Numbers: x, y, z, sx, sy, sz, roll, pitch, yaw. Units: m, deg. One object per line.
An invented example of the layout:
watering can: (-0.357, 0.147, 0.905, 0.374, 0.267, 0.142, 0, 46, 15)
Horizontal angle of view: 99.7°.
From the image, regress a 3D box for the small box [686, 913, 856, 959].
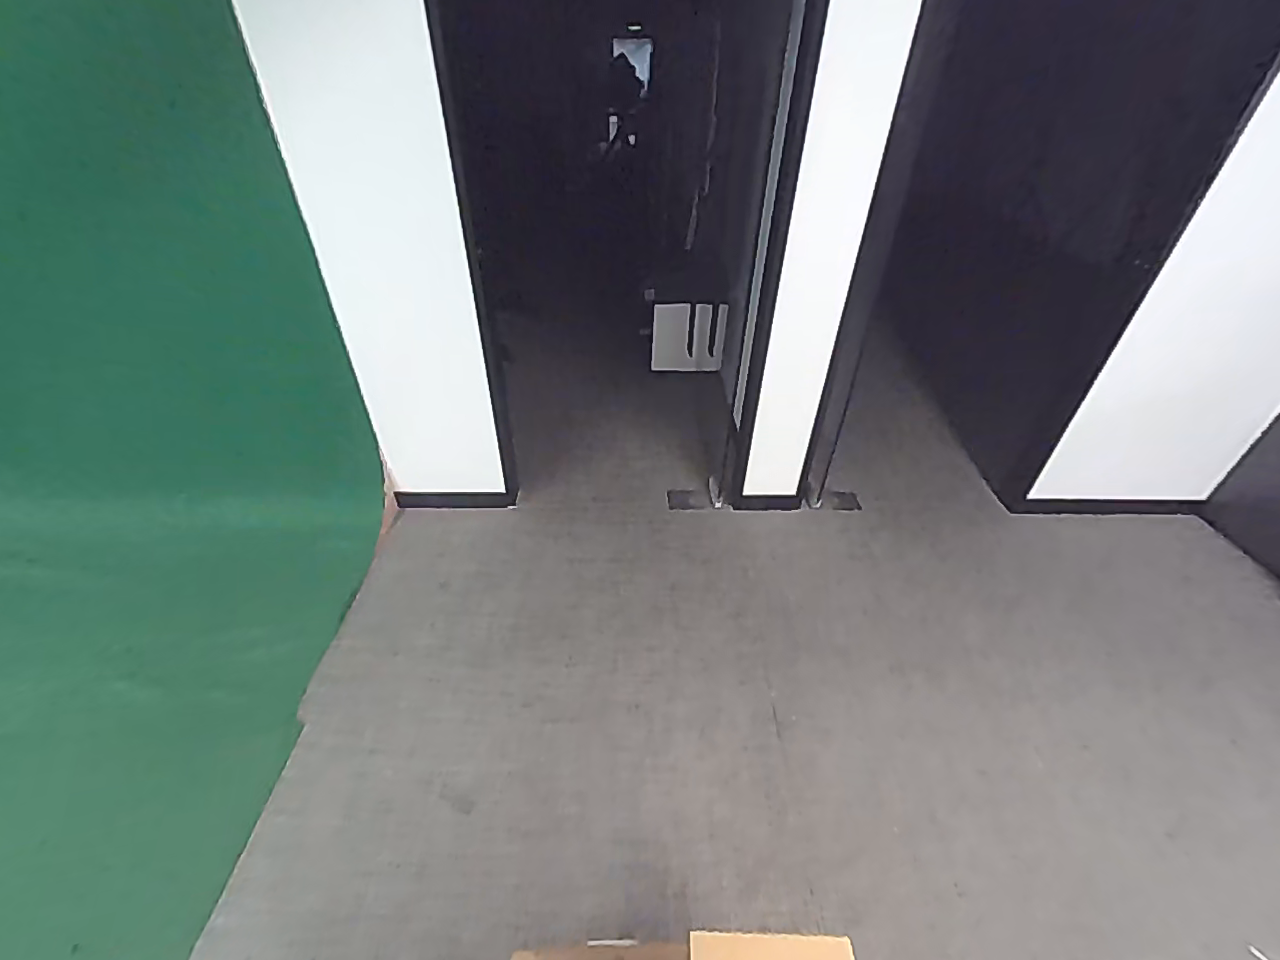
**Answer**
small box: (0.132, 0.576, 0.548, 0.168, 0.176, 0.179, 2, 38, 2)
